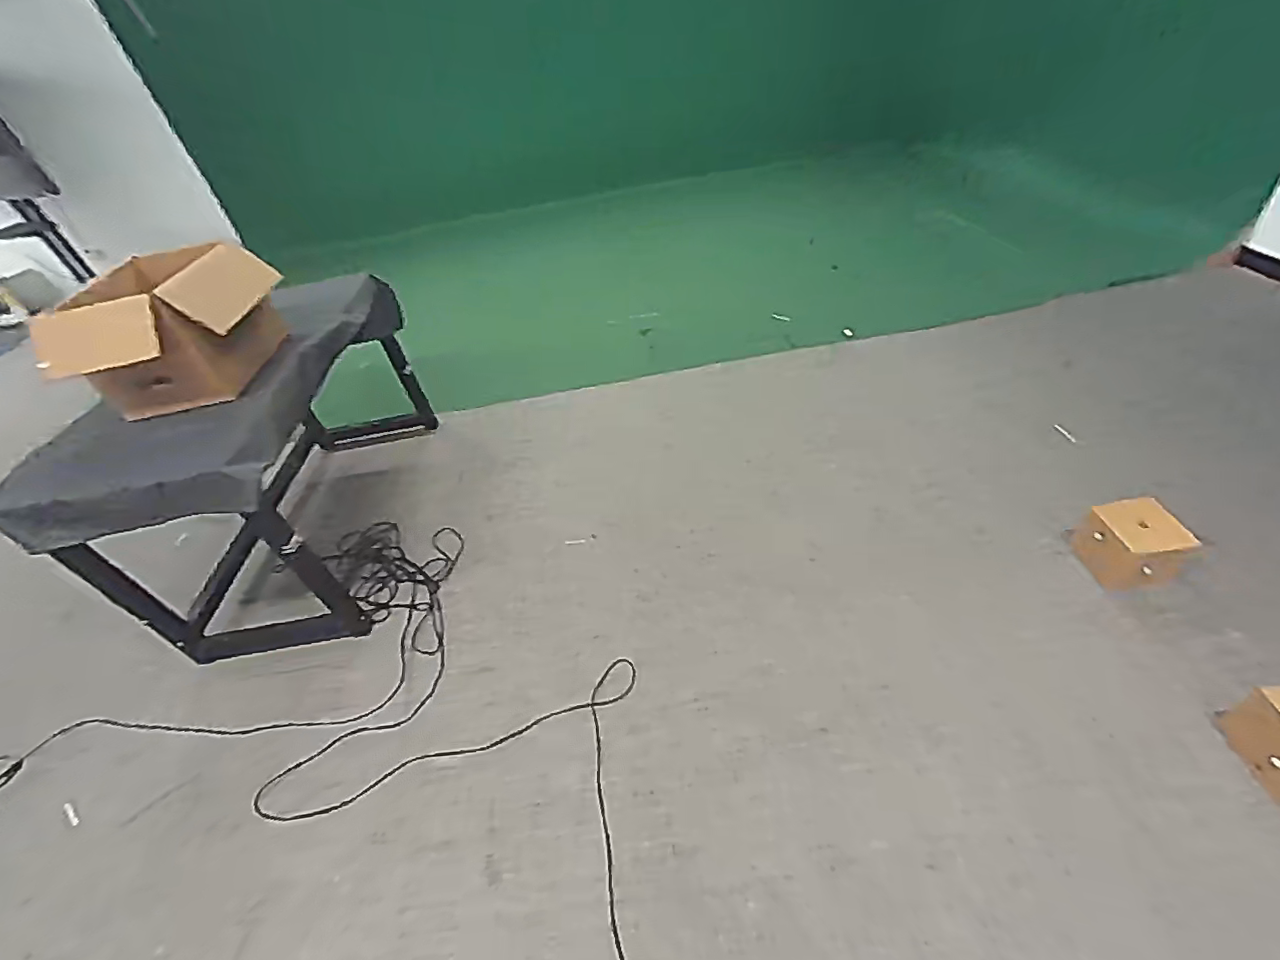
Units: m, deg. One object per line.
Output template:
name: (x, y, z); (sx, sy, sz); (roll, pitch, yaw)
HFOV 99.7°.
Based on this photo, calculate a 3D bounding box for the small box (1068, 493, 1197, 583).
small box: (1.324, 0.165, 1.469); (0.168, 0.176, 0.179); (-9, 42, 4)

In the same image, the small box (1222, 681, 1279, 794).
small box: (1.345, 0.518, 1.083); (0.179, 0.176, 0.168); (-5, 44, 6)
